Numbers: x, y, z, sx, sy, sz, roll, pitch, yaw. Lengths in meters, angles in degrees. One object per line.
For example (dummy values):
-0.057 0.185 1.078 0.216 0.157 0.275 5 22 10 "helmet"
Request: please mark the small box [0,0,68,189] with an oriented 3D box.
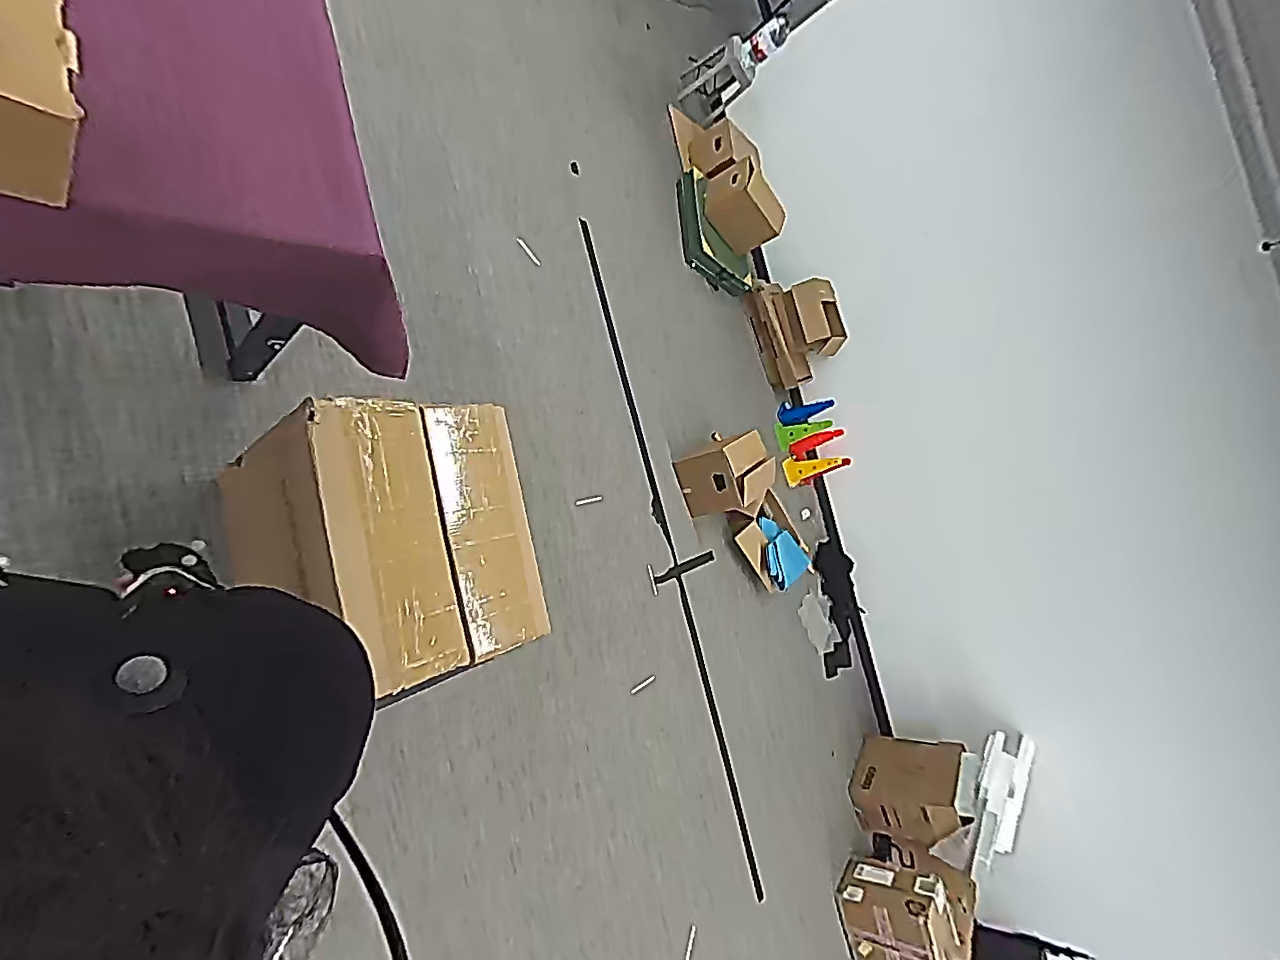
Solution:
-0.704 -0.424 0.531 0.179 0.176 0.168 -5 81 -51 "small box"
